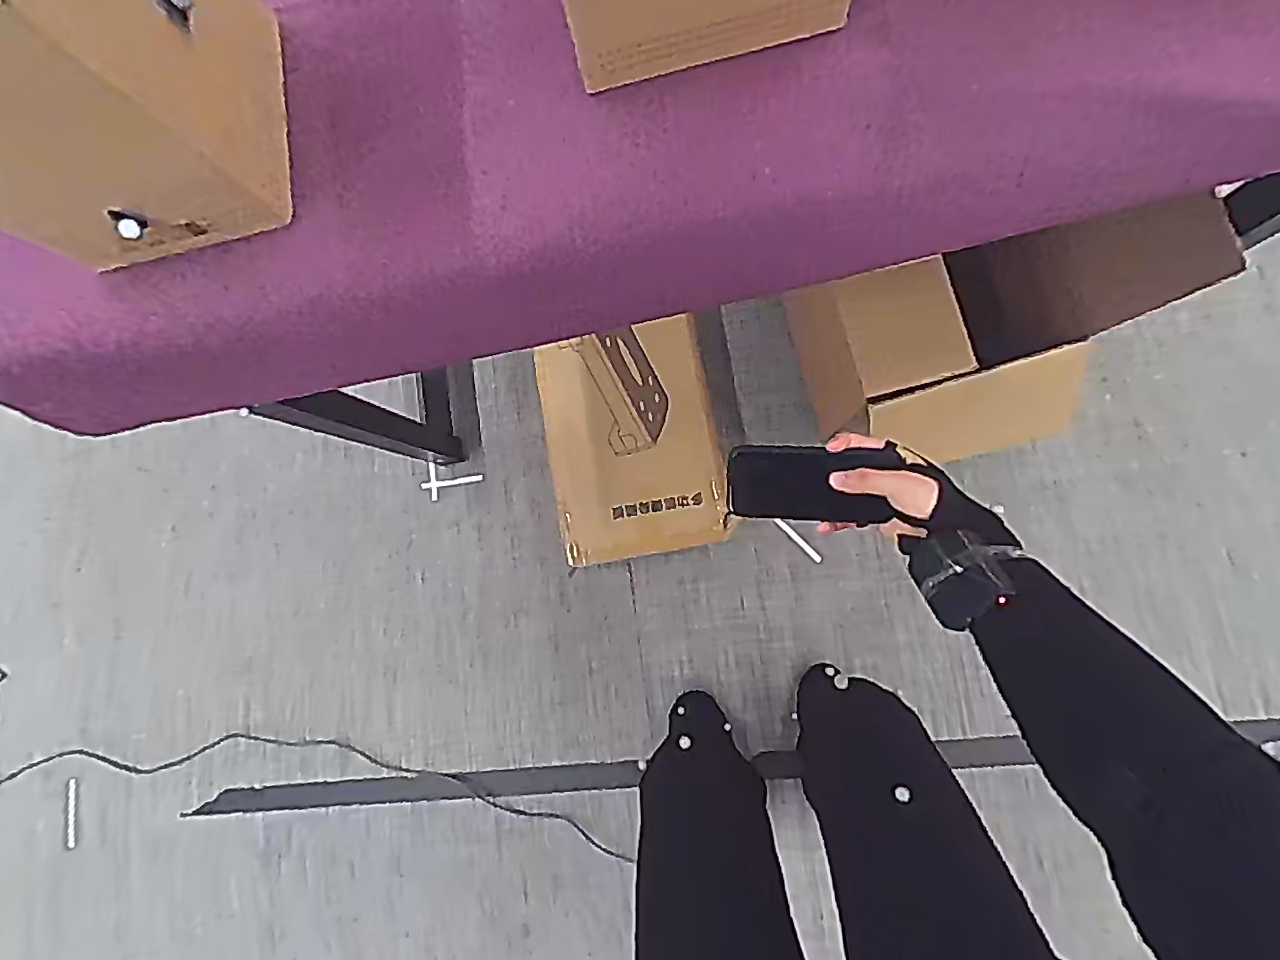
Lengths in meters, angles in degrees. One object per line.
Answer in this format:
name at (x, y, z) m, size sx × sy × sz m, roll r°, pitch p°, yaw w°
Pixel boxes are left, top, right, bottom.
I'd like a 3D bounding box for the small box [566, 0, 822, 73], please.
small box at (0.027, -0.373, 0.289) m, size 0.179 × 0.176 × 0.168 m, roll -11°, pitch 80°, yaw 6°
